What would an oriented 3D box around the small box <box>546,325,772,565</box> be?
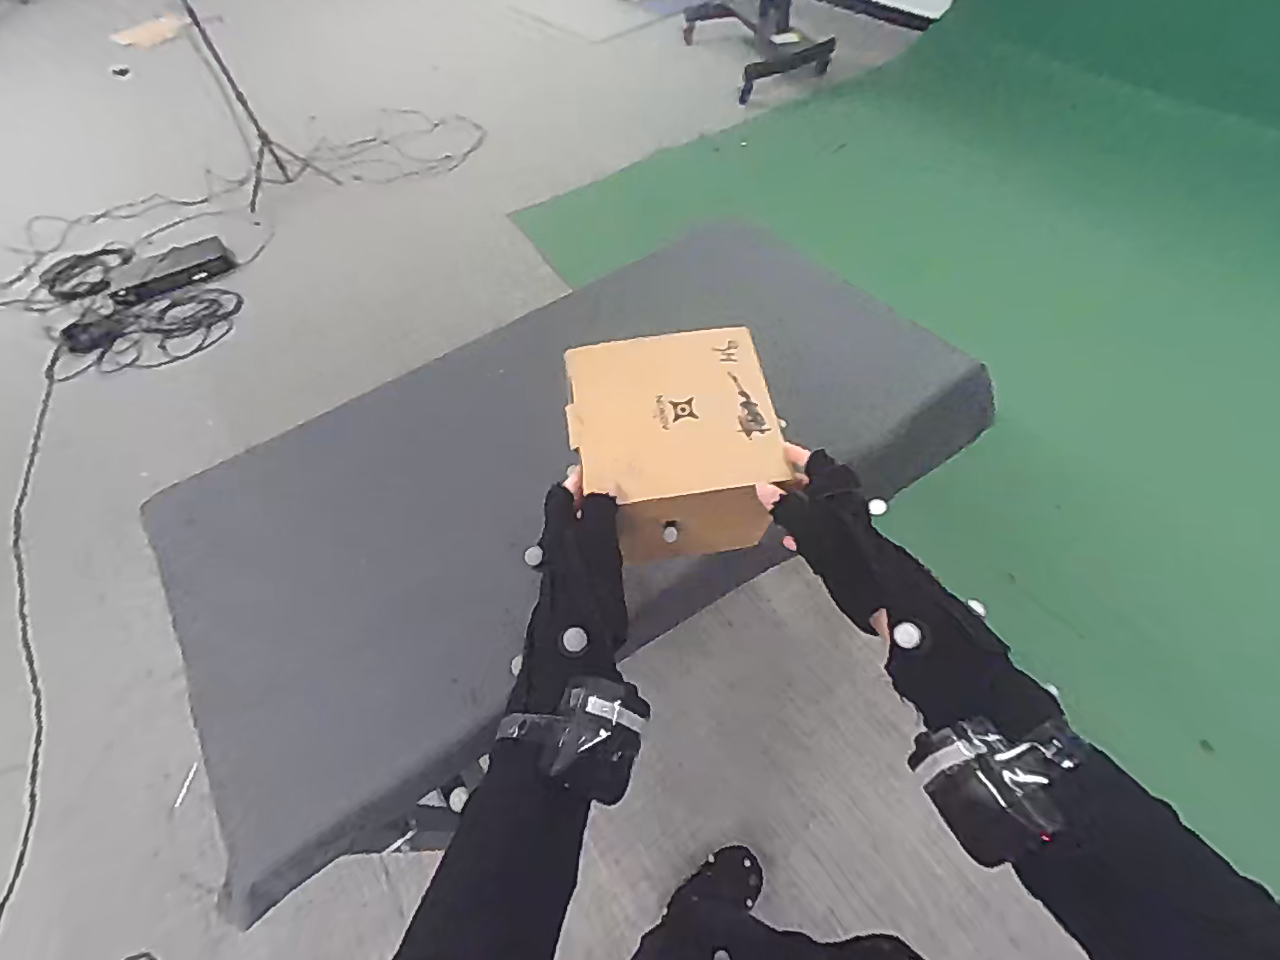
[{"bbox_3d":[0.014,-0.025,0.543,0.179,0.176,0.168,-10,65,-3],"label":"small box"}]
